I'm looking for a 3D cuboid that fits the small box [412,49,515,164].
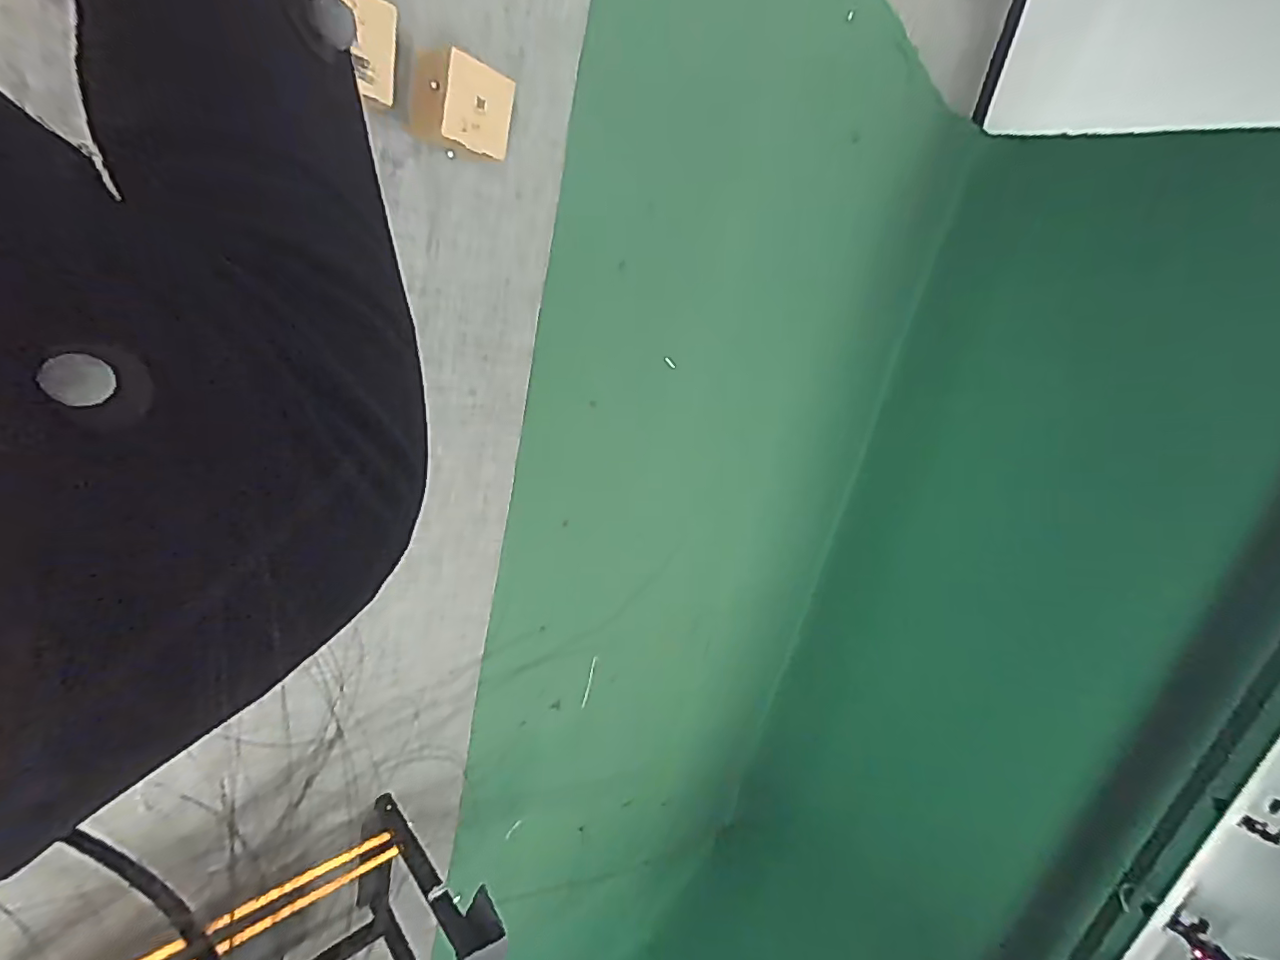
[{"bbox_3d":[-0.428,-0.886,1.300,0.168,0.176,0.179,-3,114,-47],"label":"small box"}]
